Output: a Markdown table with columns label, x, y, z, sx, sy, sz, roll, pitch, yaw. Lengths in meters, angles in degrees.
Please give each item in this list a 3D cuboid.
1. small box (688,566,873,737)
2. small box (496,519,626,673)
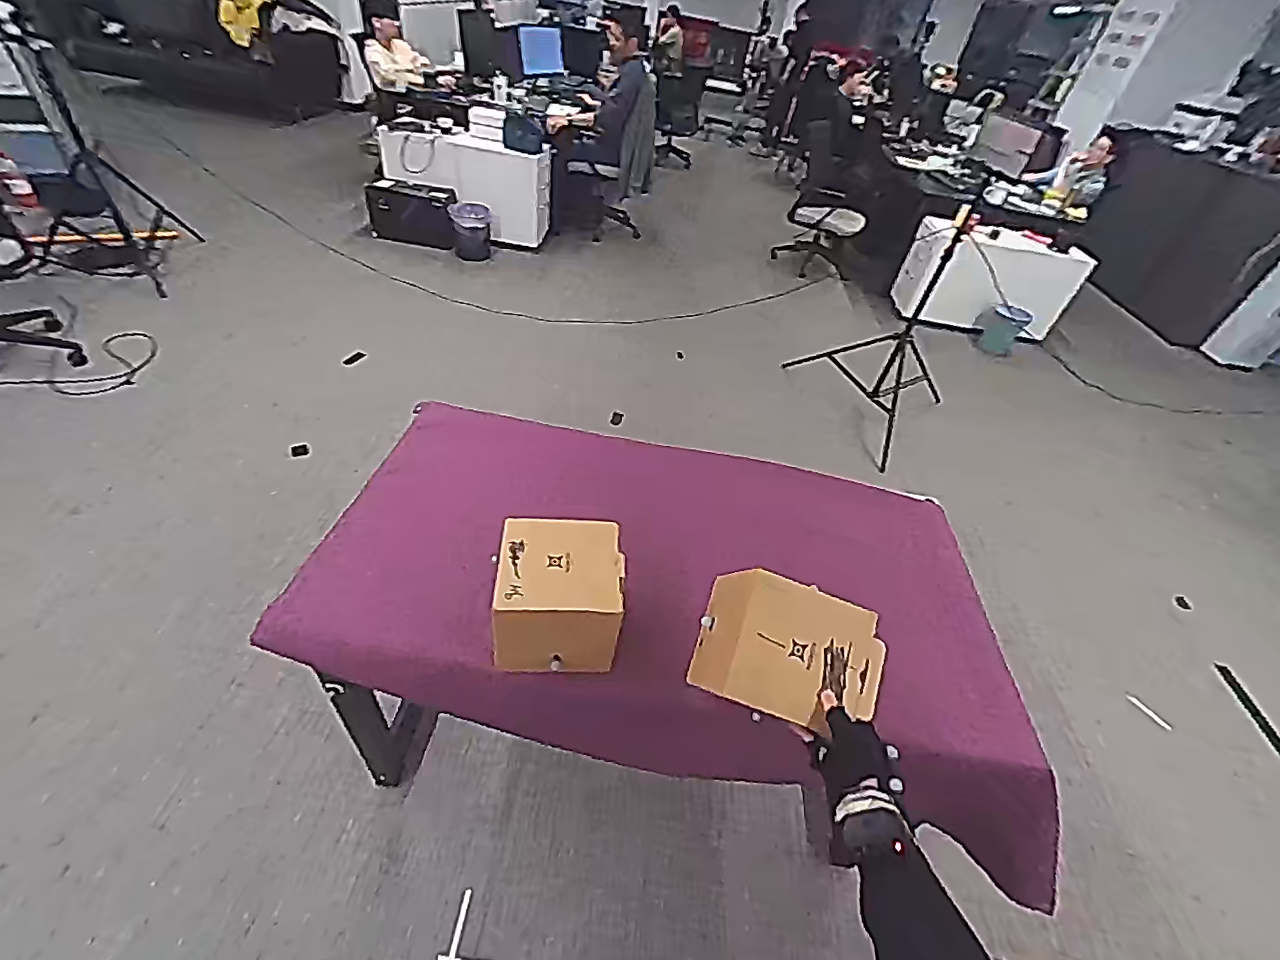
| label | x | y | z | sx | sy | sz | roll | pitch | yaw |
| --- | --- | --- | --- | --- | --- | --- | --- | --- | --- |
| small box | 0.187 | 0.234 | 0.756 | 0.179 | 0.176 | 0.168 | 21 | 71 | -4 |
| small box | -0.121 | 0.181 | 0.834 | 0.179 | 0.176 | 0.168 | 4 | 42 | -9 |
